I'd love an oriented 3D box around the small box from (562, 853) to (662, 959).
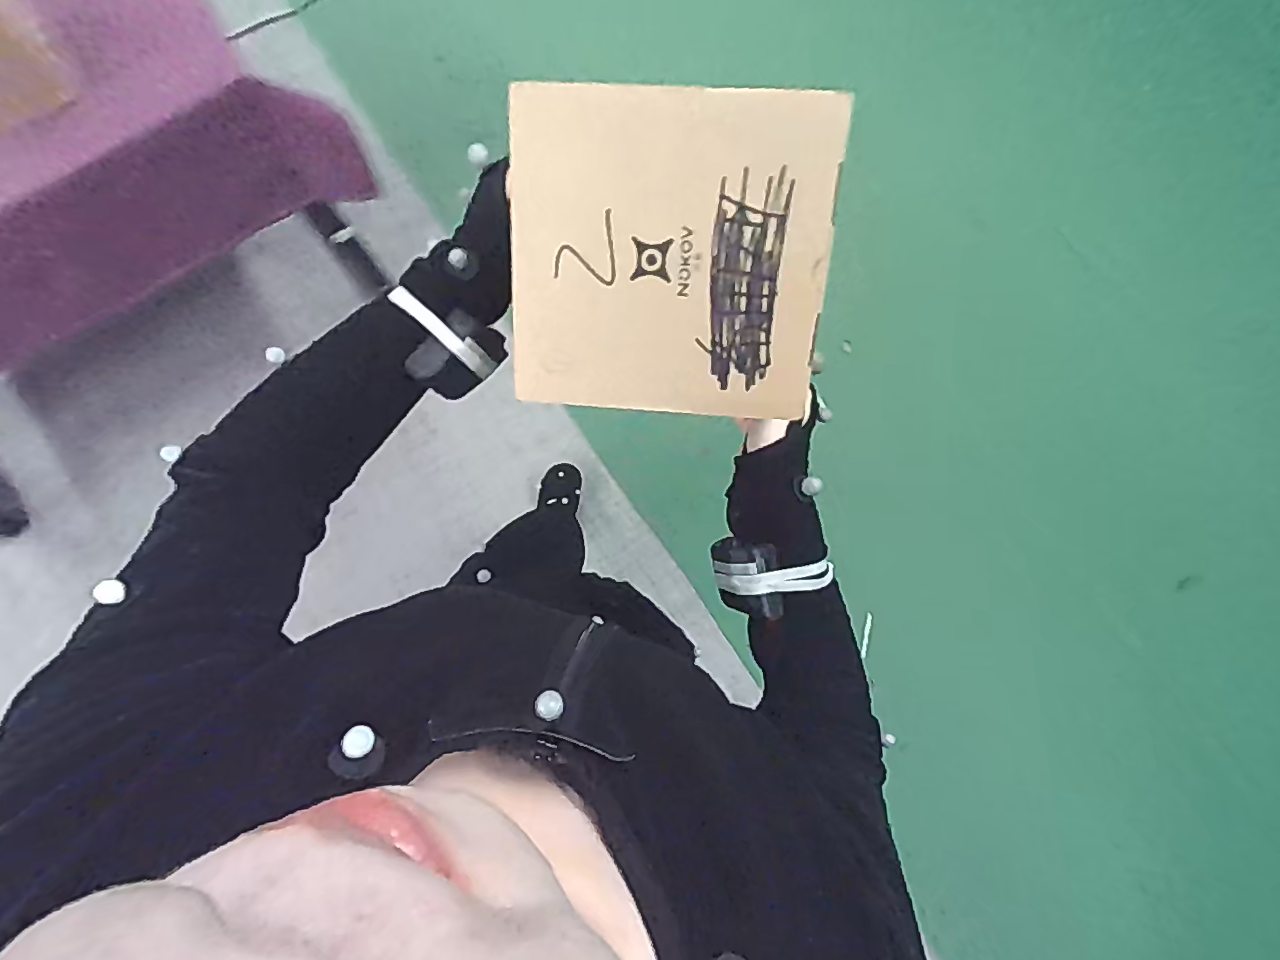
[{"bbox_3d":[-0.068,1.065,1.309,0.179,0.176,0.168,-35,87,-8],"label":"small box"}]
